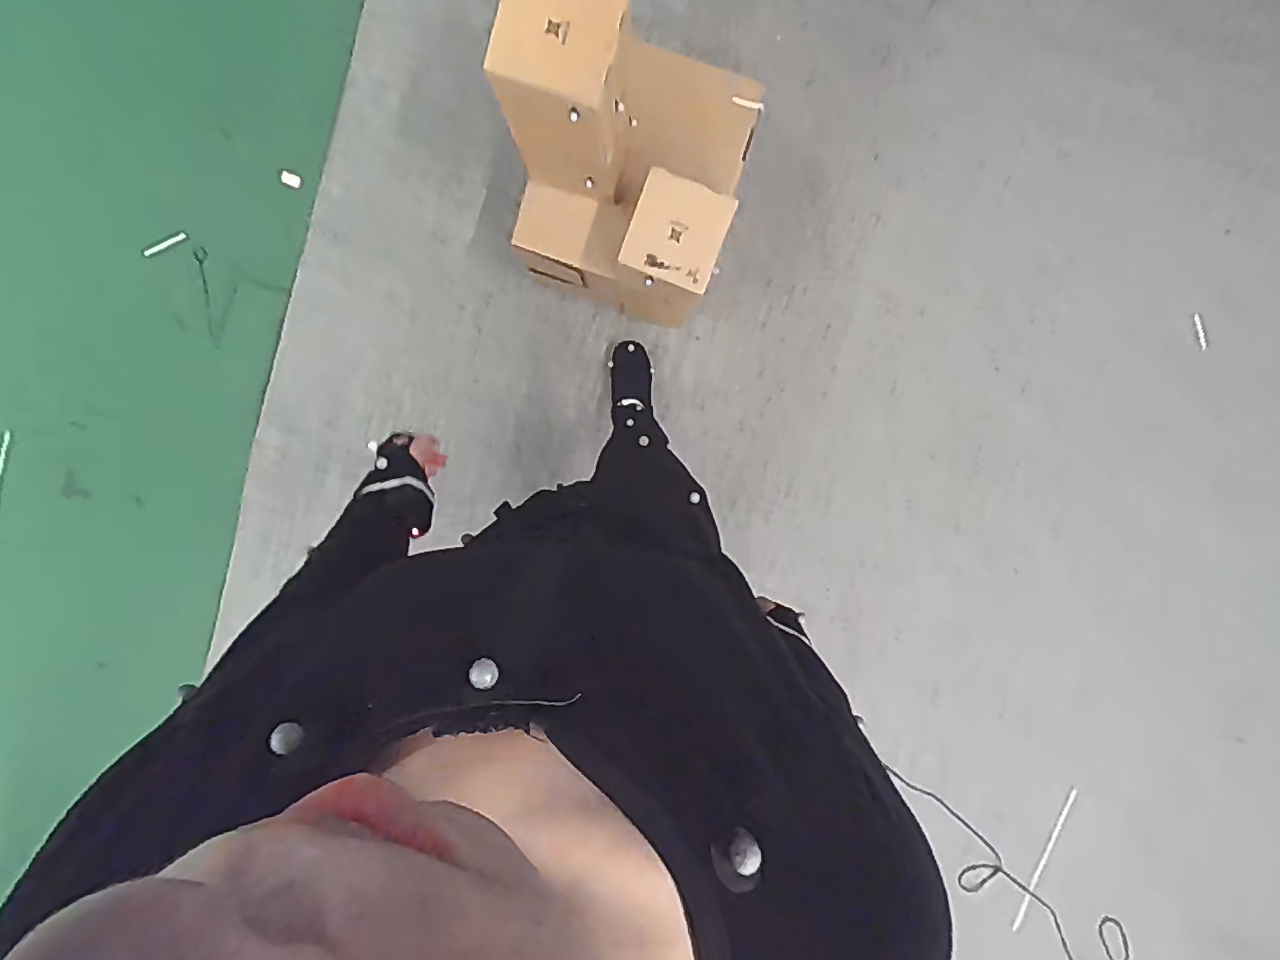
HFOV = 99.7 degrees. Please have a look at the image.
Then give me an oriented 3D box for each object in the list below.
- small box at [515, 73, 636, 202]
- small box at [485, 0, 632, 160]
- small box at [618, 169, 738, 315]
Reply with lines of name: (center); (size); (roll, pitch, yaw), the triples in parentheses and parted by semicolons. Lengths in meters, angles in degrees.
small box: (-0.112, -0.648, 1.009); (0.179, 0.176, 0.168); (16, 94, -1)
small box: (-0.117, -0.639, 0.846); (0.179, 0.176, 0.168); (17, 94, -2)
small box: (0.064, -0.440, 1.028); (0.168, 0.176, 0.179); (22, 95, -3)
